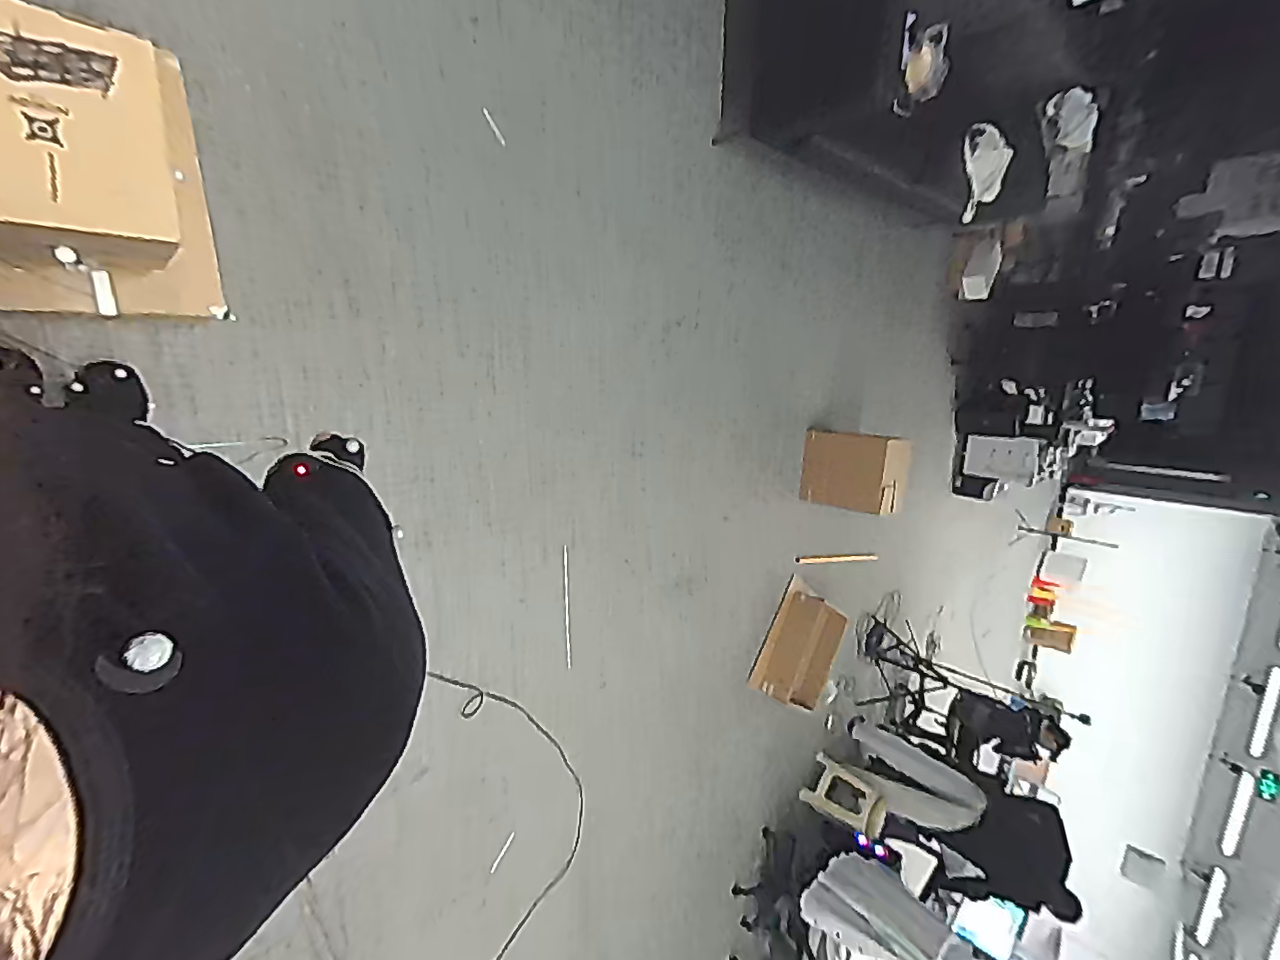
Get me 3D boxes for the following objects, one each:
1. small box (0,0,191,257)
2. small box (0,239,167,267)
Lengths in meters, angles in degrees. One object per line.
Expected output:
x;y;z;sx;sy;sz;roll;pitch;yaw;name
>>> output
-0.559;-0.326;0.522;0.168;0.176;0.179;-10;109;-42;small box
-0.790;-0.394;0.747;0.179;0.176;0.168;-14;110;-41;small box
